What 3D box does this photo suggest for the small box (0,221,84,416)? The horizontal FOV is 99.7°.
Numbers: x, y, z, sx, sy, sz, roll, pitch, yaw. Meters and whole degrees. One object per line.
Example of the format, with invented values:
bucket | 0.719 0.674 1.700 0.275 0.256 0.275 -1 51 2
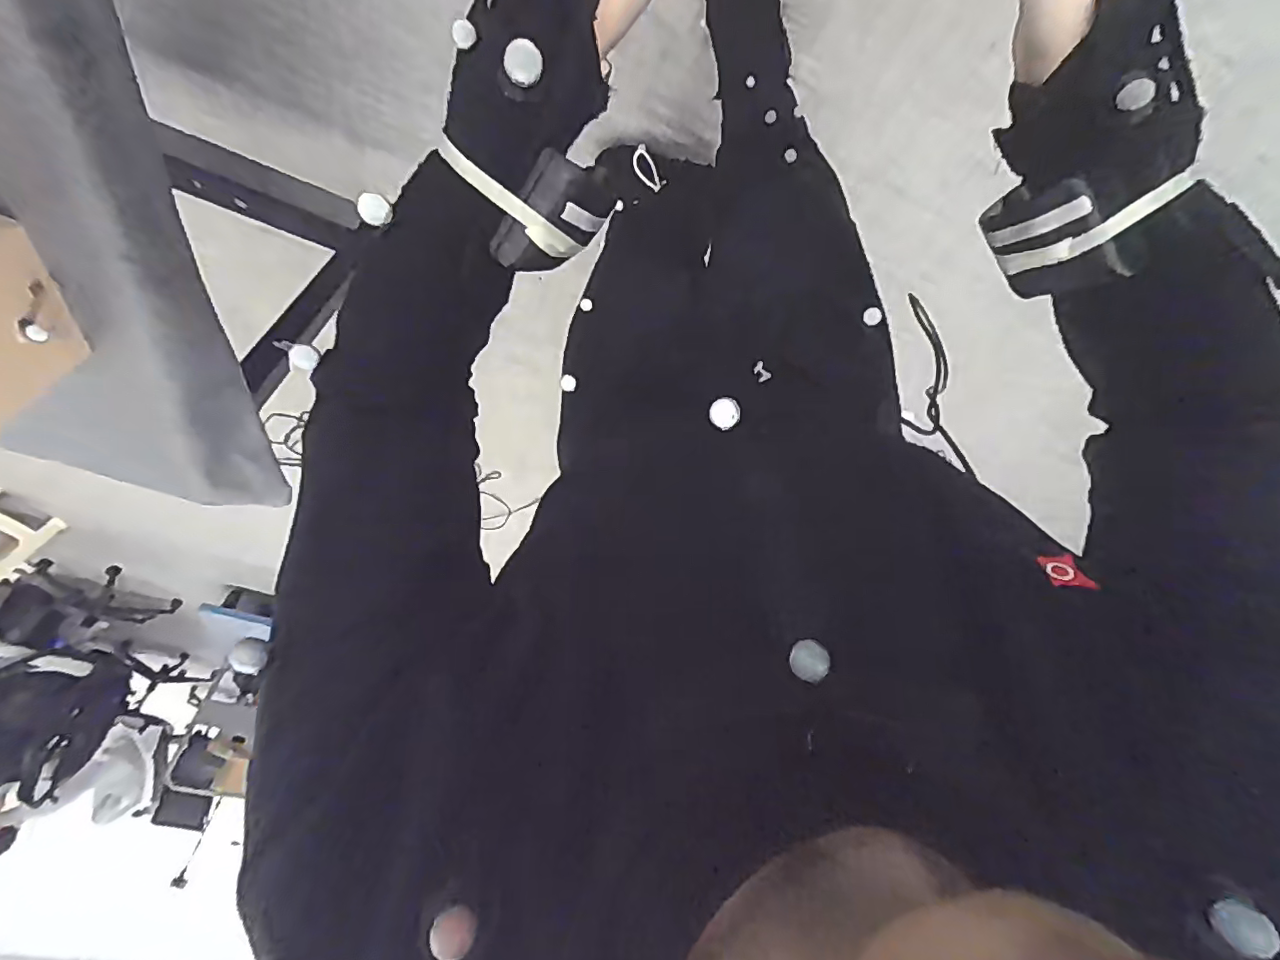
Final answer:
small box | -0.669 -0.145 0.470 0.179 0.176 0.168 17 140 -13
